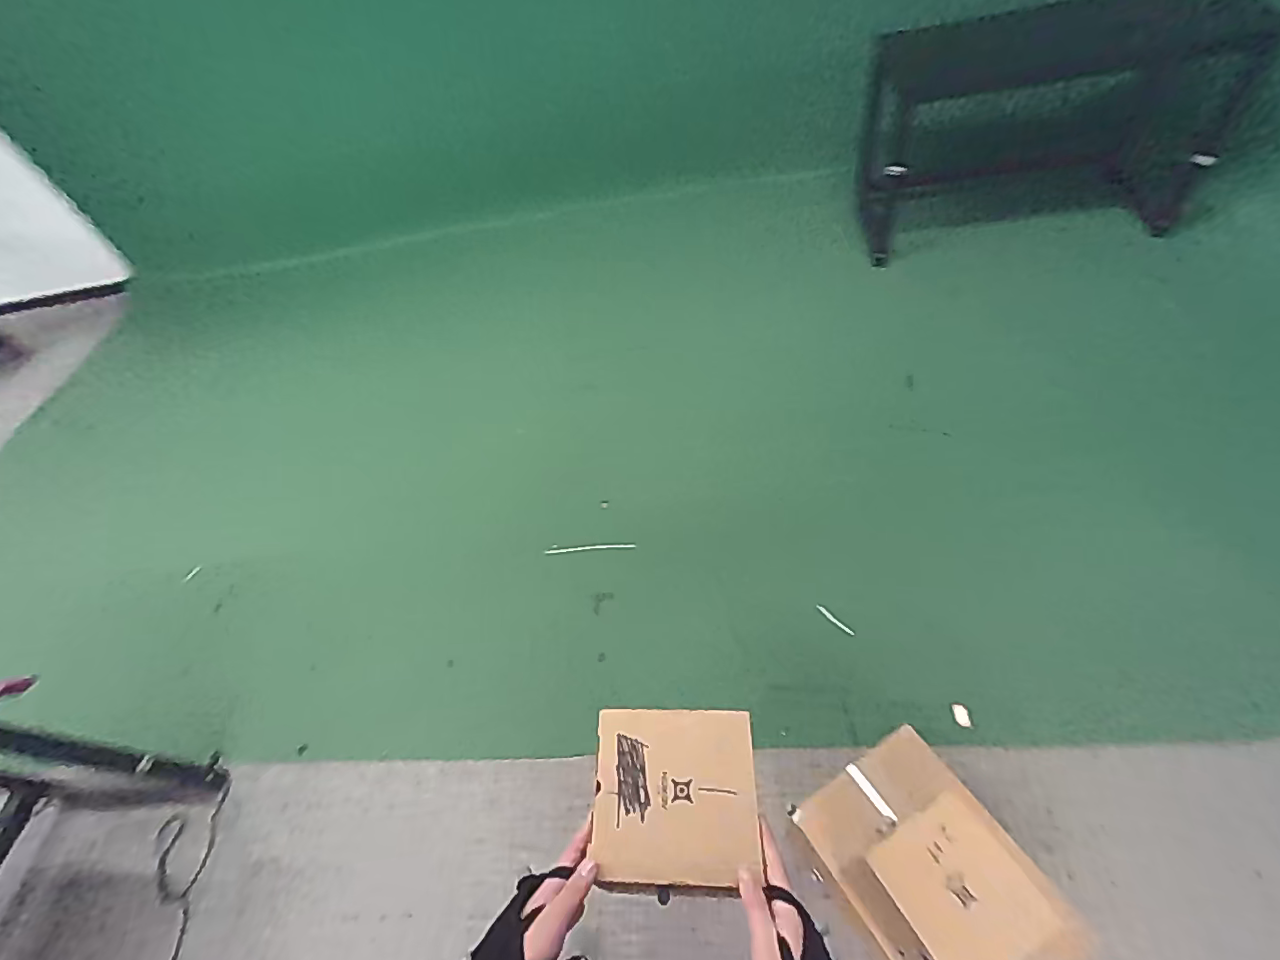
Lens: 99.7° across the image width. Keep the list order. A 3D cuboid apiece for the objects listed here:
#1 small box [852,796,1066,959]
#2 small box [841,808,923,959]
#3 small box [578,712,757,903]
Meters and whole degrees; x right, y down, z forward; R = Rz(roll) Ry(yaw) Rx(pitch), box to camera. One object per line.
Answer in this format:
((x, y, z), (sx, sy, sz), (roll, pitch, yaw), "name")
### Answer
((0.430, 0.584, 0.764), (0.168, 0.176, 0.179), (-28, 53, -10), "small box")
((0.460, 0.682, 0.893), (0.168, 0.176, 0.179), (-30, 53, -11), "small box")
((0.034, 0.382, 0.627), (0.179, 0.176, 0.168), (-2, 50, 4), "small box")
